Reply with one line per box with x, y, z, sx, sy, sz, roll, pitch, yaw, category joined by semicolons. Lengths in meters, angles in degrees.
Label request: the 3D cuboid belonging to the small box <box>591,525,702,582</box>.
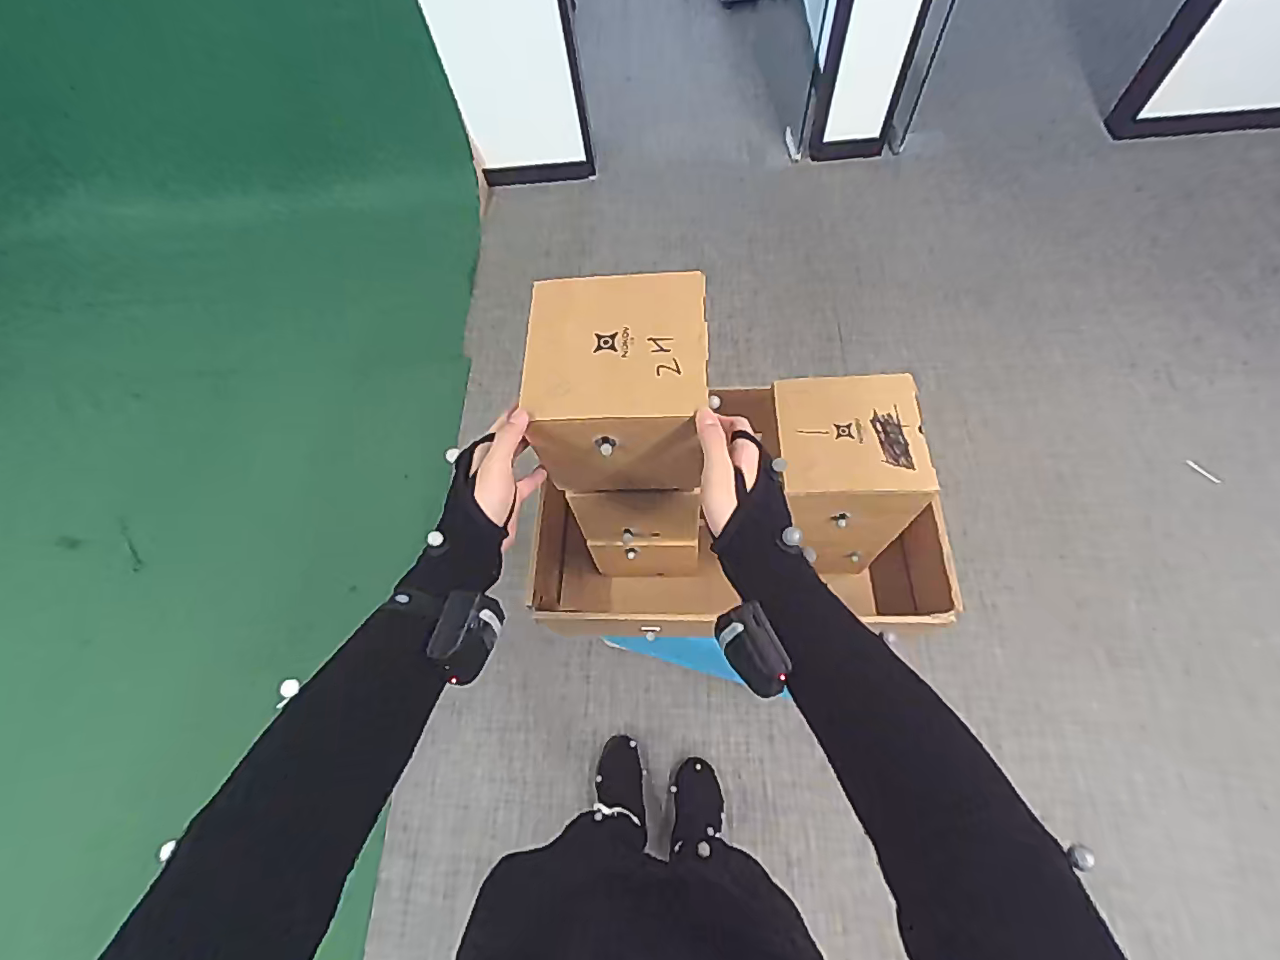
0.017;0.059;0.895;0.168;0.176;0.179;-1;63;5;small box

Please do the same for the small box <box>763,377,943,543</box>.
0.267;-0.020;0.724;0.179;0.176;0.168;-2;63;6;small box

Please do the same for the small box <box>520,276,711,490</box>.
-0.013;-0.094;0.586;0.179;0.176;0.168;-1;67;5;small box

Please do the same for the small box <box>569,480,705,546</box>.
0.003;-0.020;0.752;0.168;0.176;0.179;-1;64;5;small box
